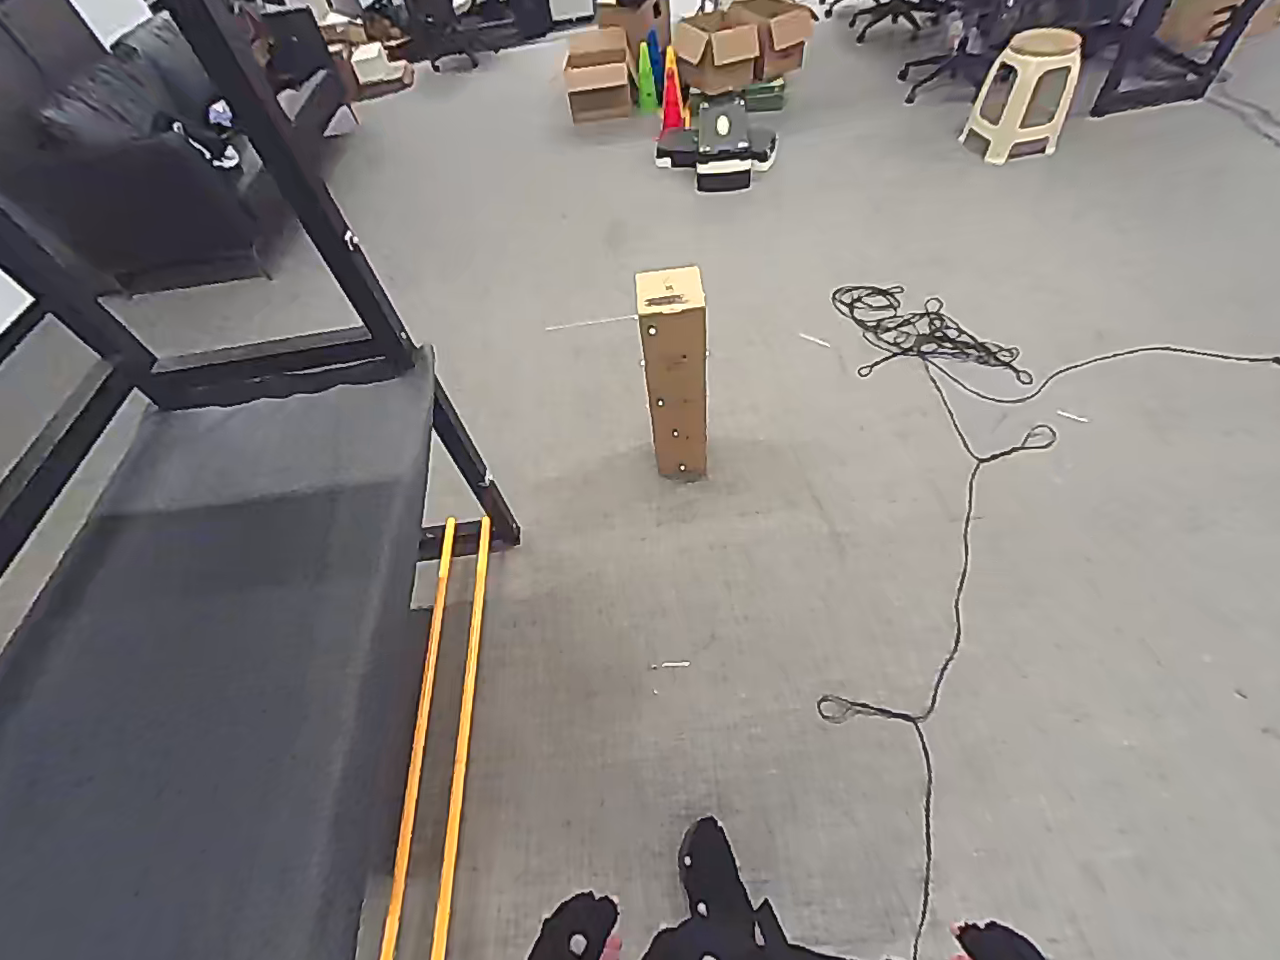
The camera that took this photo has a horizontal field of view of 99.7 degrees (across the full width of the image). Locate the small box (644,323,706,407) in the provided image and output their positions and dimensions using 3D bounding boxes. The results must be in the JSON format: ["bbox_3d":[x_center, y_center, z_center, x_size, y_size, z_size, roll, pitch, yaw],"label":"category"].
[{"bbox_3d":[0.102,-0.322,1.551,0.168,0.176,0.179,-4,53,4],"label":"small box"}]

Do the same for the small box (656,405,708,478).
[{"bbox_3d":[0.142,-0.128,1.810,0.168,0.176,0.179,-3,53,7],"label":"small box"}]
